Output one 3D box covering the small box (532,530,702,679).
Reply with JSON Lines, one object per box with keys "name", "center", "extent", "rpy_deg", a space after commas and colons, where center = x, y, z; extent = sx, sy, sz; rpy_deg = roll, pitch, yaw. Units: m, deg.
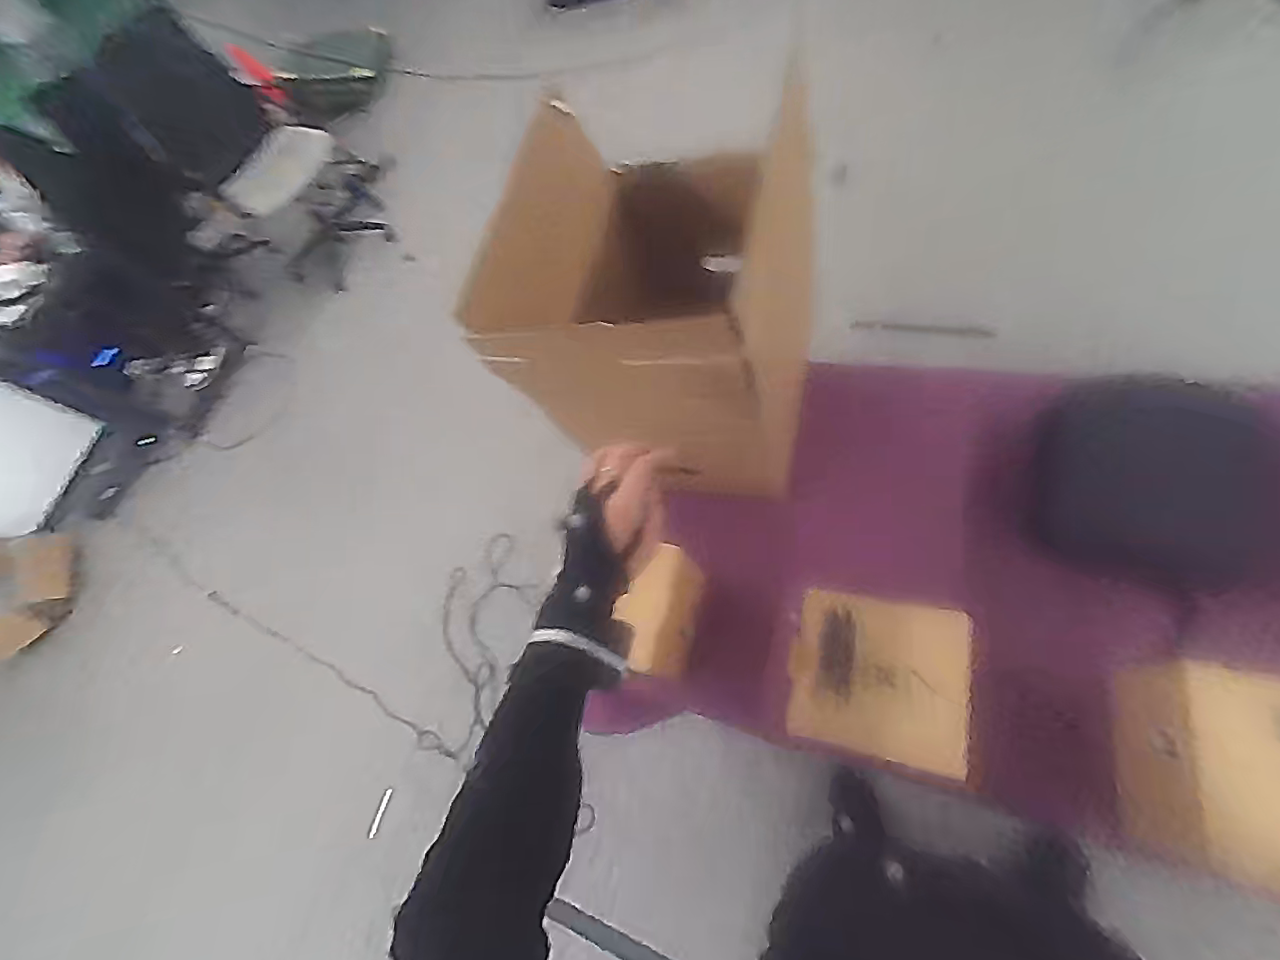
{"name": "small box", "center": [-0.023, 0.187, 0.795], "extent": [0.179, 0.176, 0.168], "rpy_deg": [8, 70, 22]}
